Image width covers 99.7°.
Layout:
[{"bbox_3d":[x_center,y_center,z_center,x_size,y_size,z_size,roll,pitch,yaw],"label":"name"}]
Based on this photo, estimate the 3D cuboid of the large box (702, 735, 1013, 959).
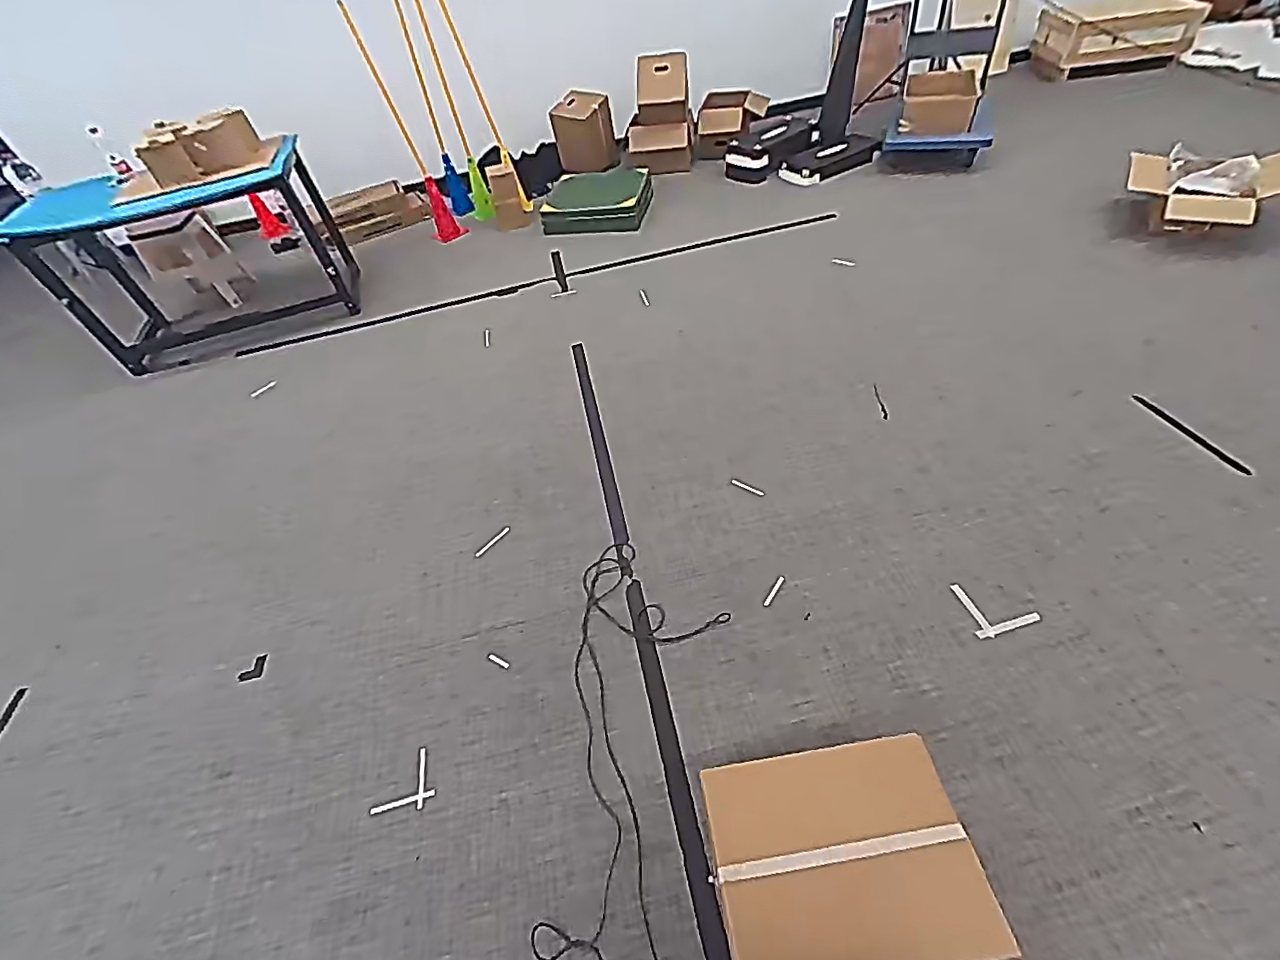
[{"bbox_3d":[0.344,0.708,0.985,0.408,0.320,0.320,-10,46,0],"label":"large box"}]
